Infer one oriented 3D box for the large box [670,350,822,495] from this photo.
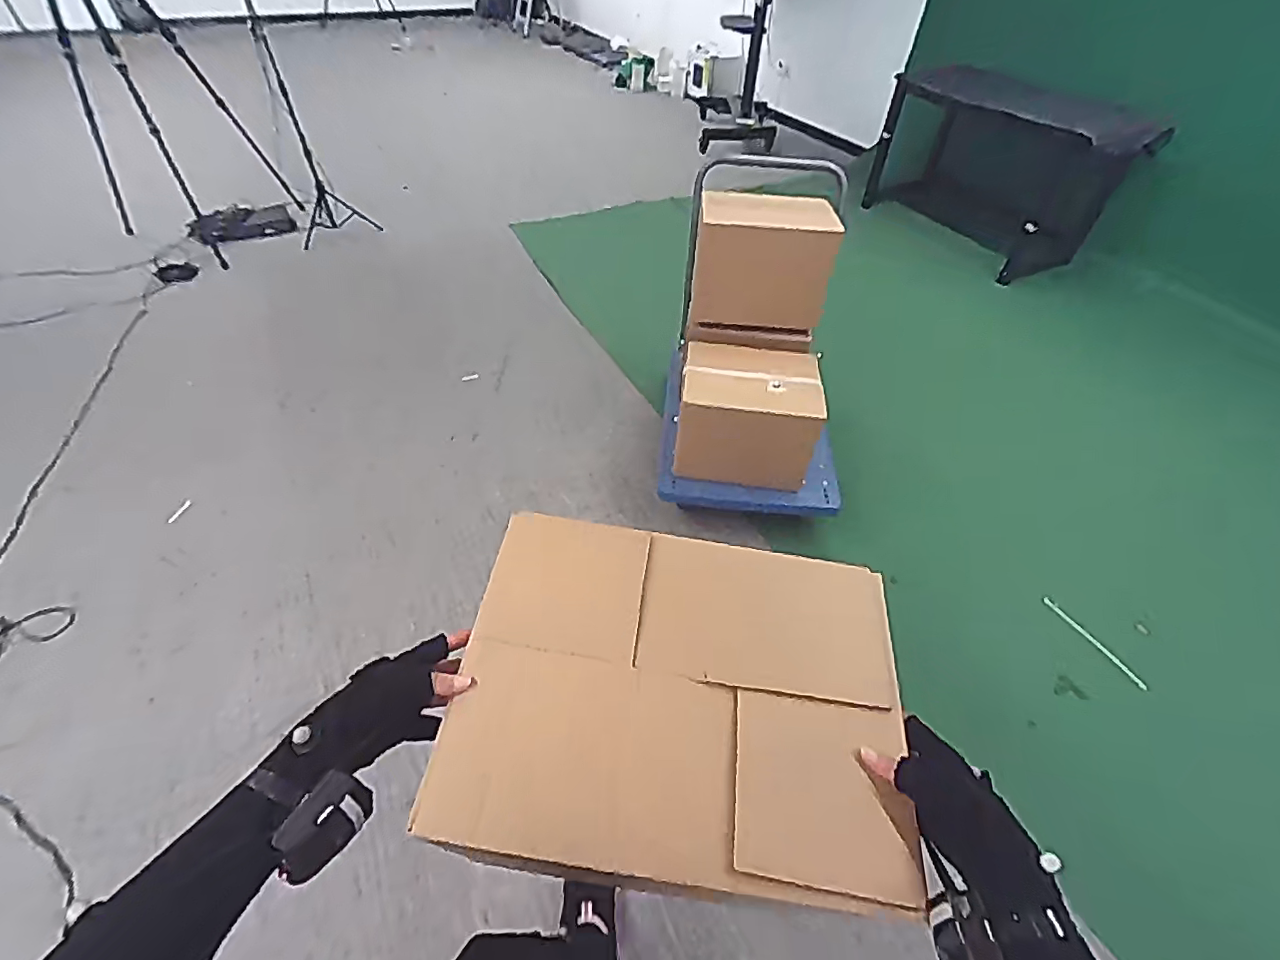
[{"bbox_3d":[0.316,-0.180,1.711,0.408,0.320,0.320,8,46,3],"label":"large box"}]
